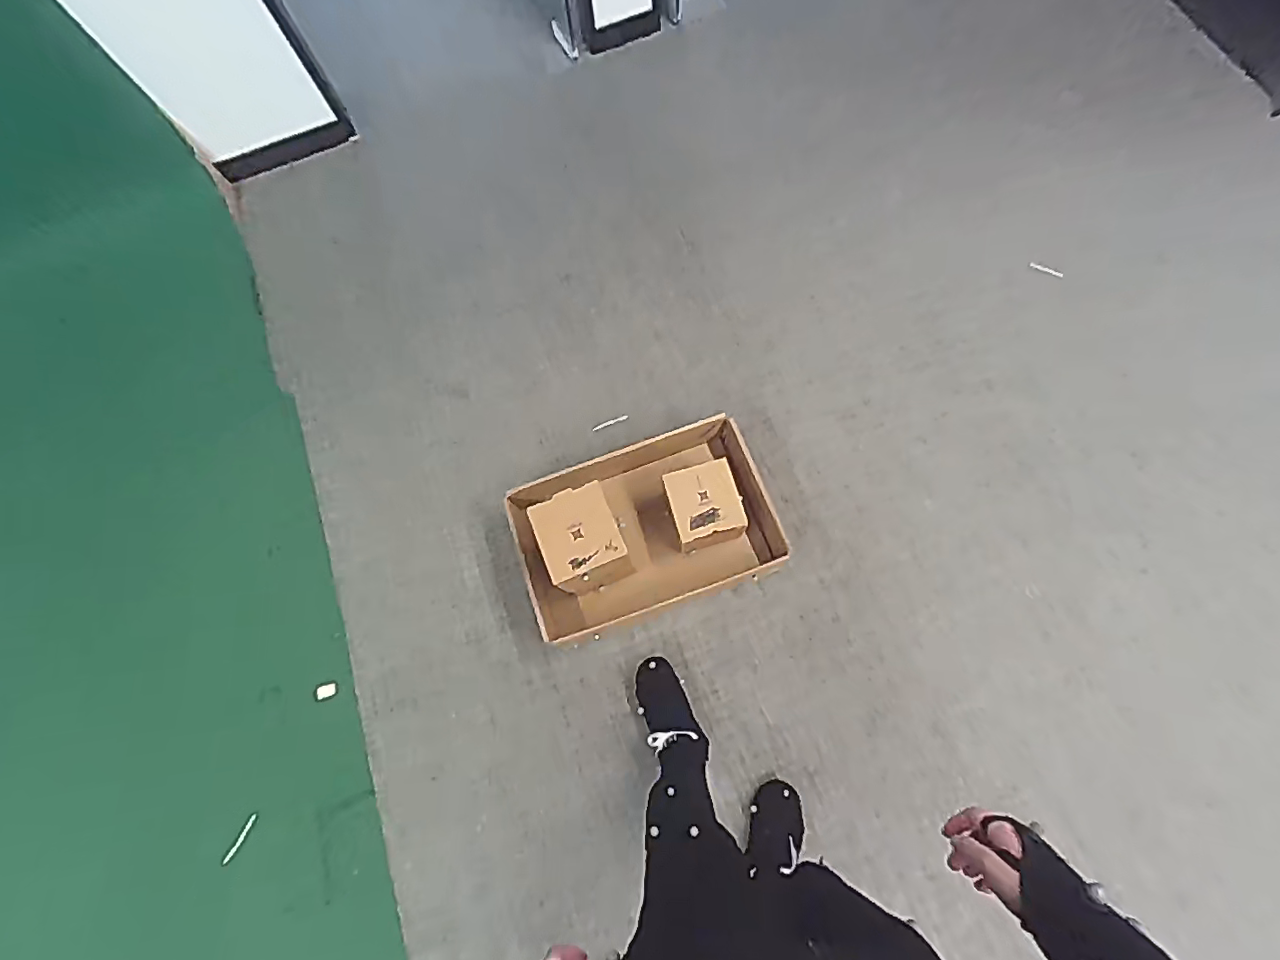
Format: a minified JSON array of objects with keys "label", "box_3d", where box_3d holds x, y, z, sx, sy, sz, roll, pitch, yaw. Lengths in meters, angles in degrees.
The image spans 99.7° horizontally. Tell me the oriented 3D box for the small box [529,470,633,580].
[{"label":"small box","box_3d":[-0.124,0.105,1.187,0.168,0.176,0.179,-22,74,-3]}]
